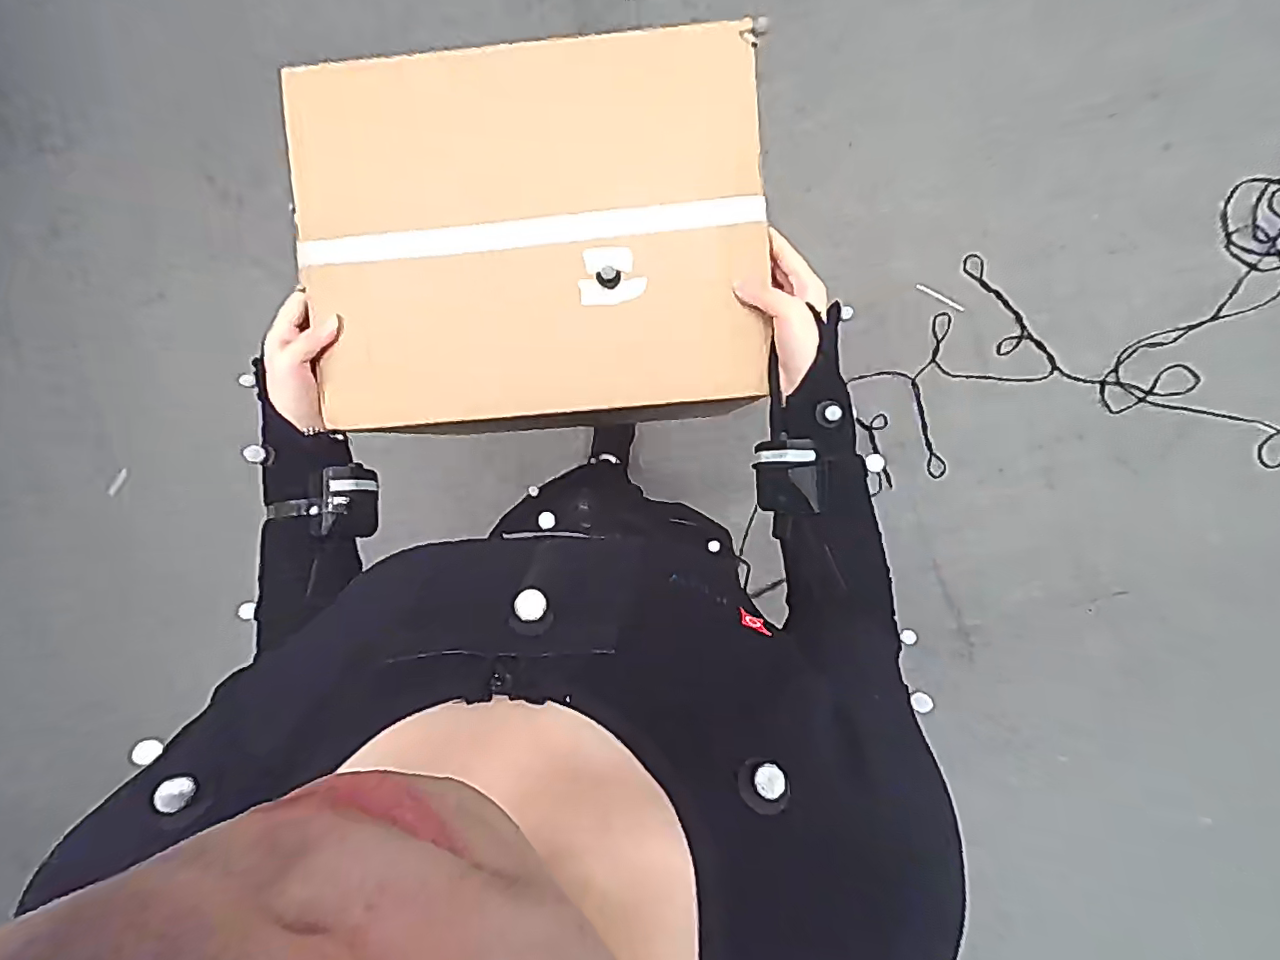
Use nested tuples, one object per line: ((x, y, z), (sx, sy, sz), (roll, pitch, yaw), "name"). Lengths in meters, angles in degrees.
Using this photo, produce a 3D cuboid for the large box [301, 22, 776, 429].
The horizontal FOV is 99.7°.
((-0.088, -0.235, 0.626), (0.408, 0.320, 0.320), (-4, 94, 1), "large box")
